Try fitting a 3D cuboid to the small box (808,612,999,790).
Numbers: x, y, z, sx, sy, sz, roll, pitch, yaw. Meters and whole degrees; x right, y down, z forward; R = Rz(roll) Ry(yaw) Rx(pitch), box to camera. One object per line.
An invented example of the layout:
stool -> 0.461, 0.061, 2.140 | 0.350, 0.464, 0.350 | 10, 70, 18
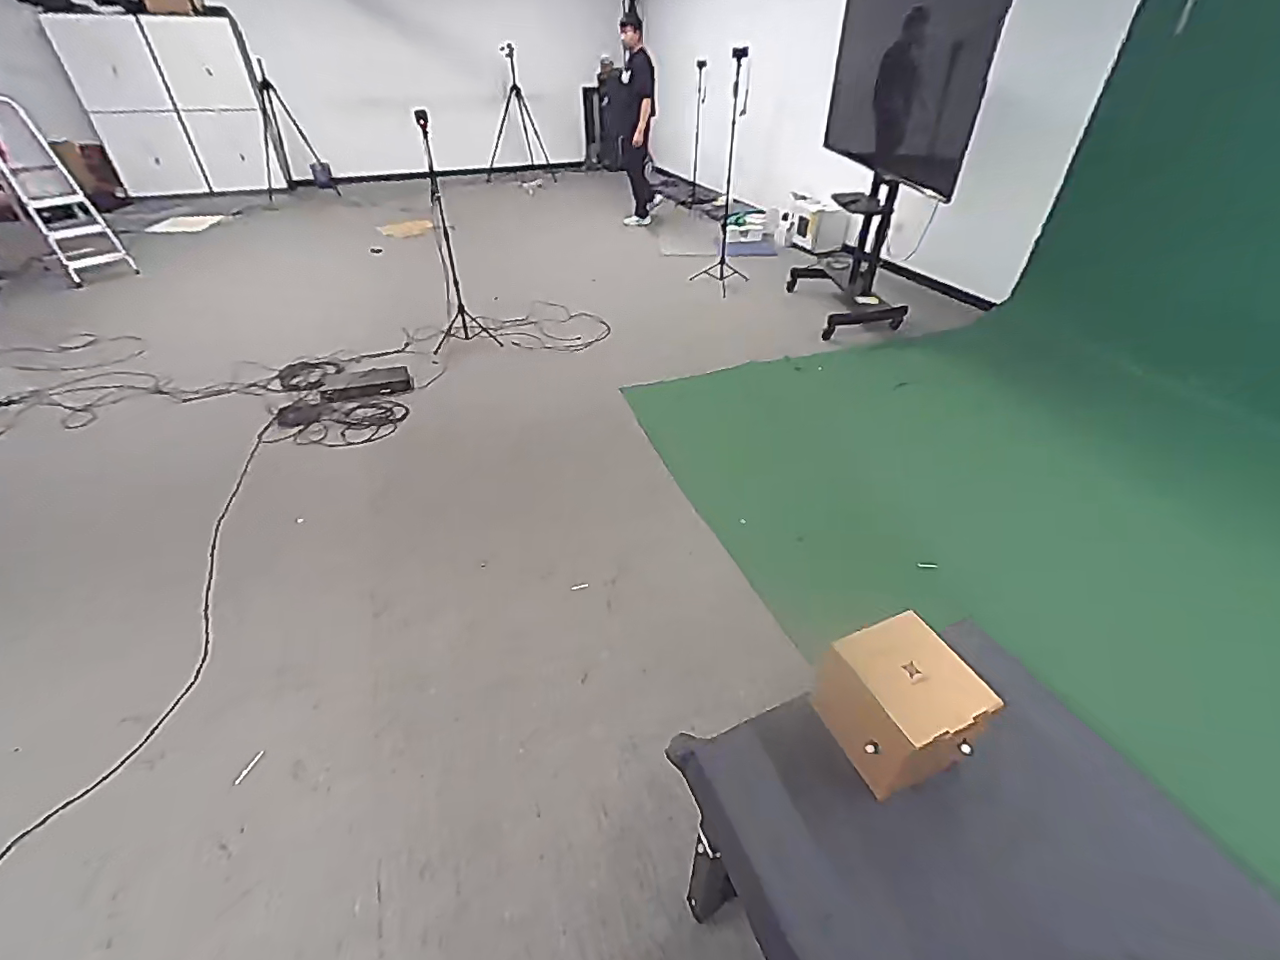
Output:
small box -> 0.390, 0.342, 0.833 | 0.168, 0.176, 0.179 | -13, 40, -22
